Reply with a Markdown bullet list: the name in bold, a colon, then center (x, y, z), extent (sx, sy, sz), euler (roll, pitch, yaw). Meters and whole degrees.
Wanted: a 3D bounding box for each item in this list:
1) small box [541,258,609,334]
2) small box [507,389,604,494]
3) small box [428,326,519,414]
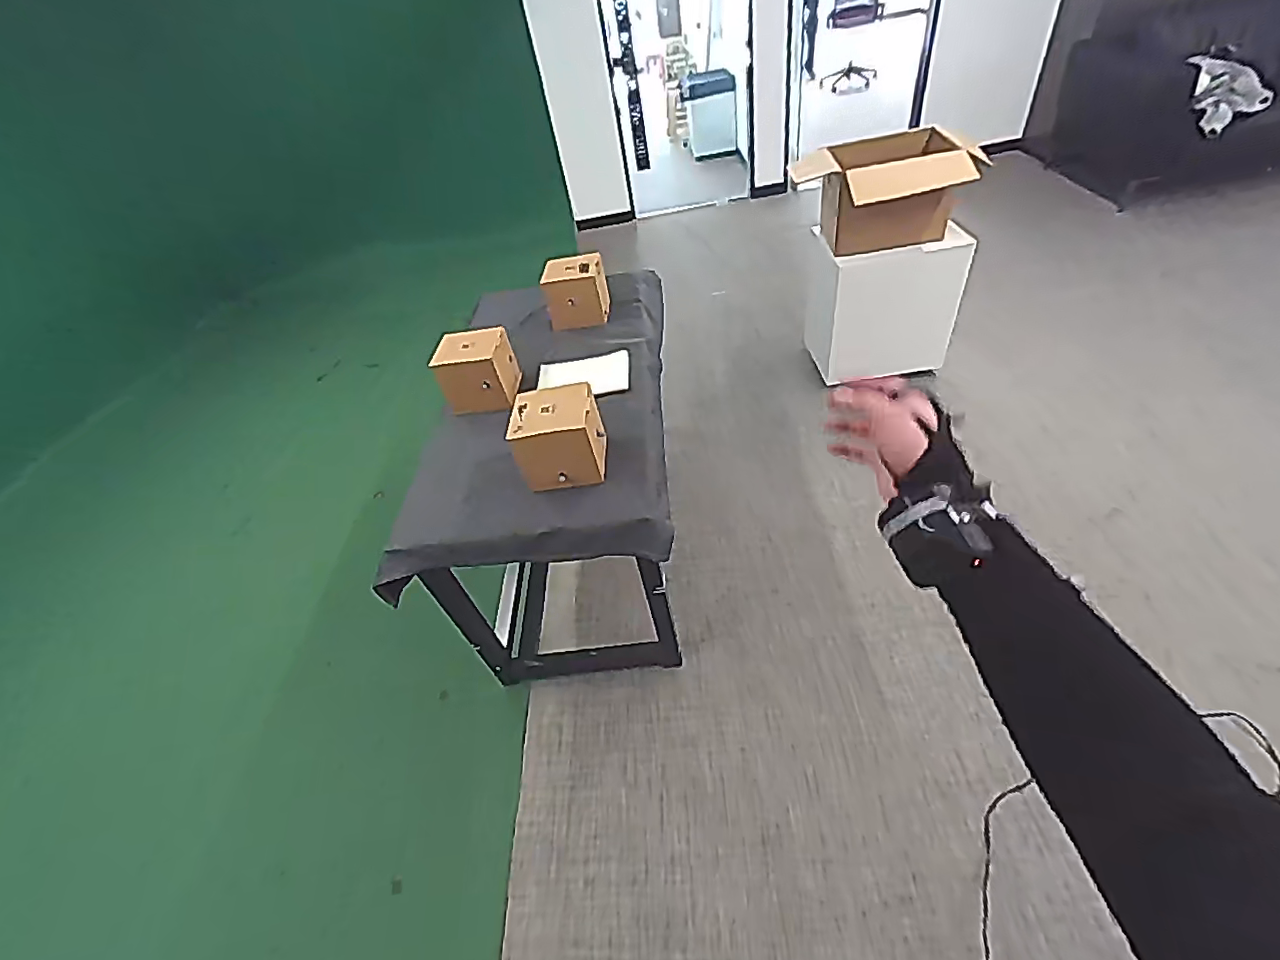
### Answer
- **small box**: center (-0.201, -0.593, 1.751), extent (0.179, 0.176, 0.168), euler (-5, 45, 8)
- **small box**: center (-0.182, -0.085, 1.238), extent (0.179, 0.176, 0.168), euler (-7, 44, 6)
- **small box**: center (-0.450, -0.302, 1.494), extent (0.179, 0.176, 0.168), euler (-7, 43, 6)
